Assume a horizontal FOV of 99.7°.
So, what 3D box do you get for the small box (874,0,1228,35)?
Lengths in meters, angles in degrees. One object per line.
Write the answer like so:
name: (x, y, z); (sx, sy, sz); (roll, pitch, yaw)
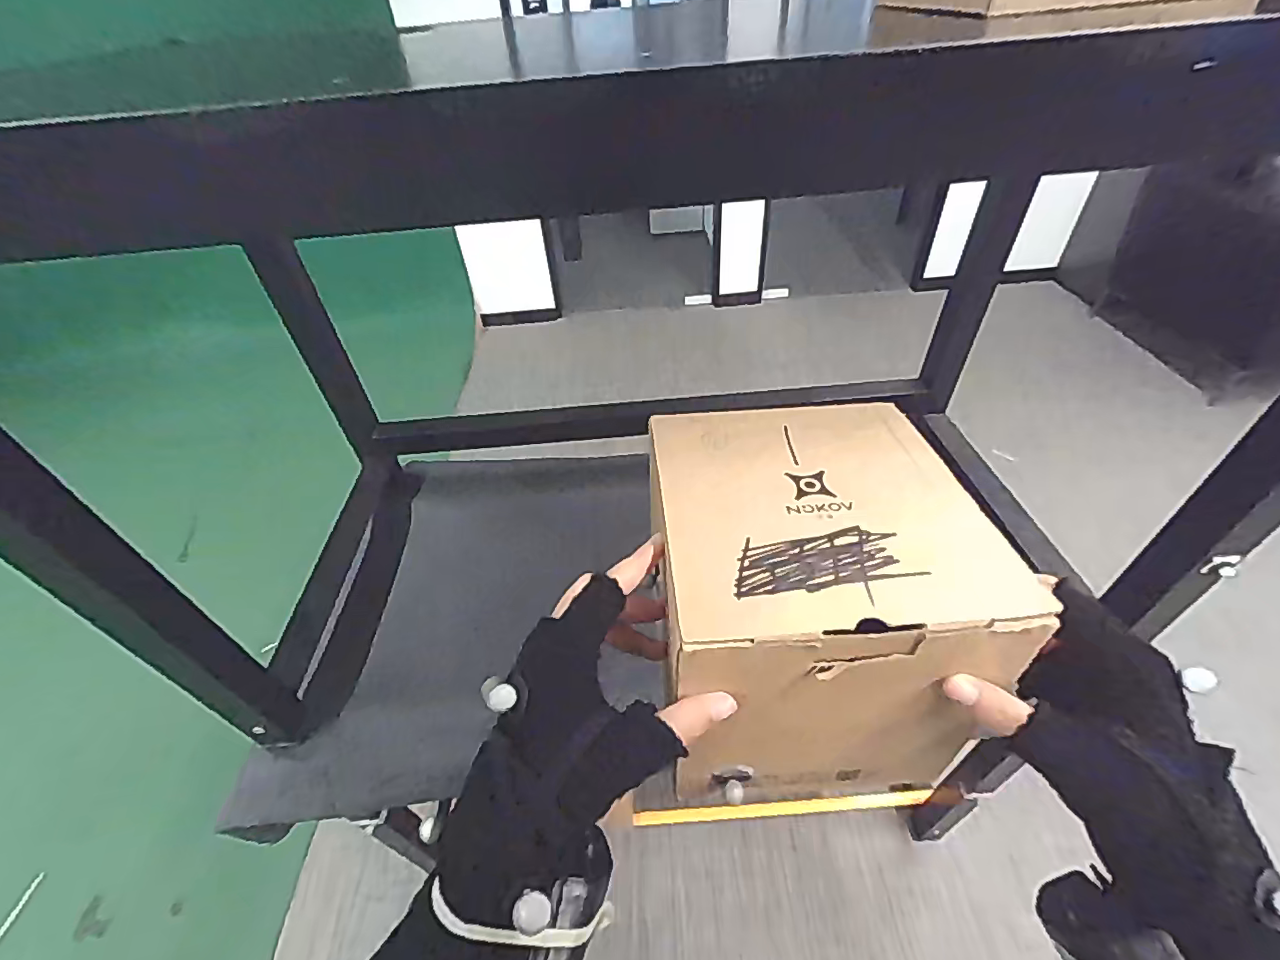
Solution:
small box: (0.270, -0.393, 0.338); (0.168, 0.176, 0.179); (-5, 43, 0)
